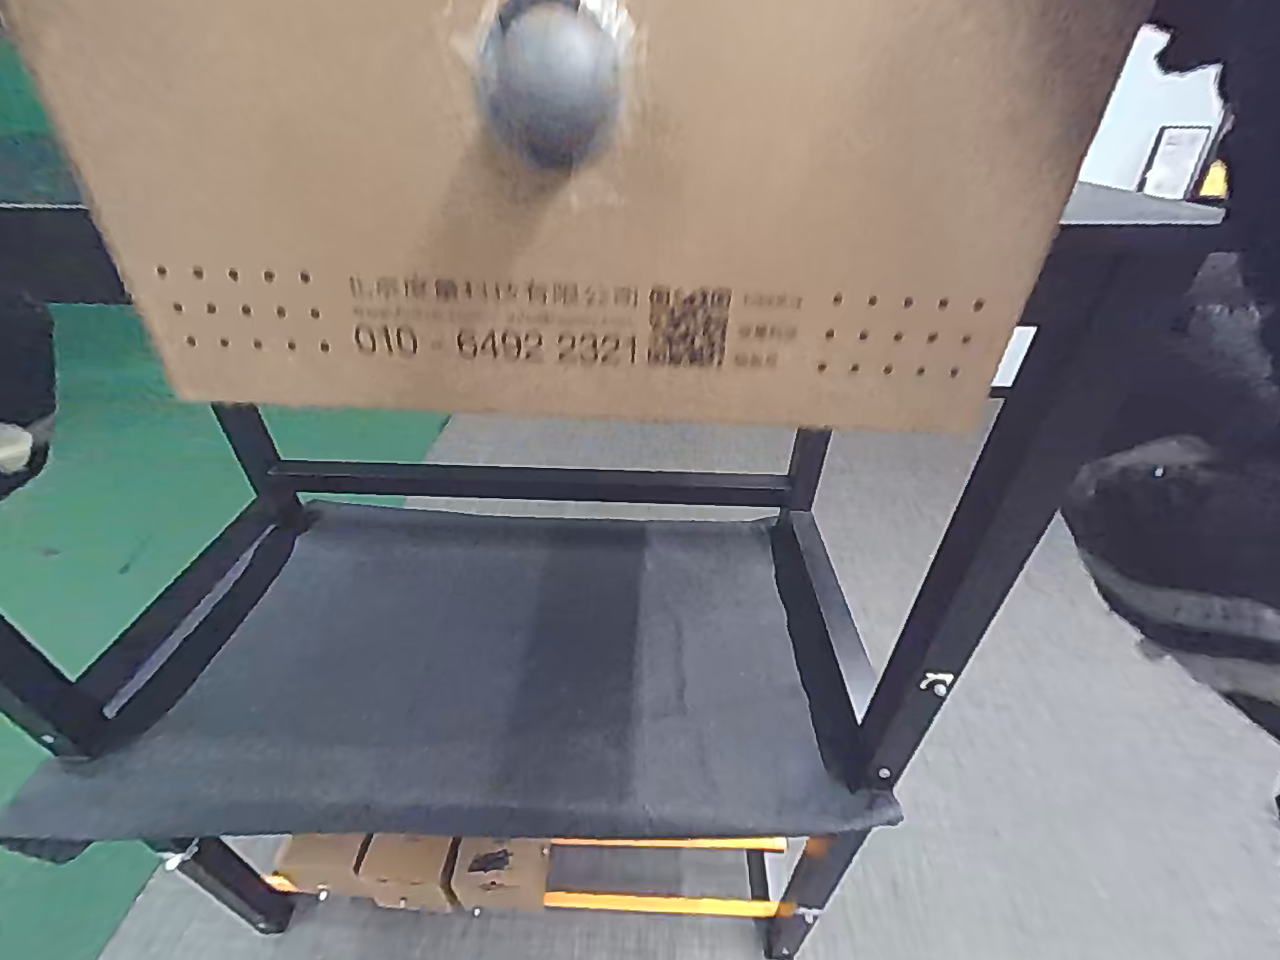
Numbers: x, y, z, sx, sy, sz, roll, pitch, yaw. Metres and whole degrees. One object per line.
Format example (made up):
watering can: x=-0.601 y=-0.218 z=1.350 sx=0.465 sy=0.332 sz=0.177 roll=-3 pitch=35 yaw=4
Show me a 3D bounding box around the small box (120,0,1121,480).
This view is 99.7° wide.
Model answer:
small box: x=-0.006 y=-0.118 z=0.151 sx=0.168 sy=0.176 sz=0.179 roll=3 pitch=32 yaw=0
